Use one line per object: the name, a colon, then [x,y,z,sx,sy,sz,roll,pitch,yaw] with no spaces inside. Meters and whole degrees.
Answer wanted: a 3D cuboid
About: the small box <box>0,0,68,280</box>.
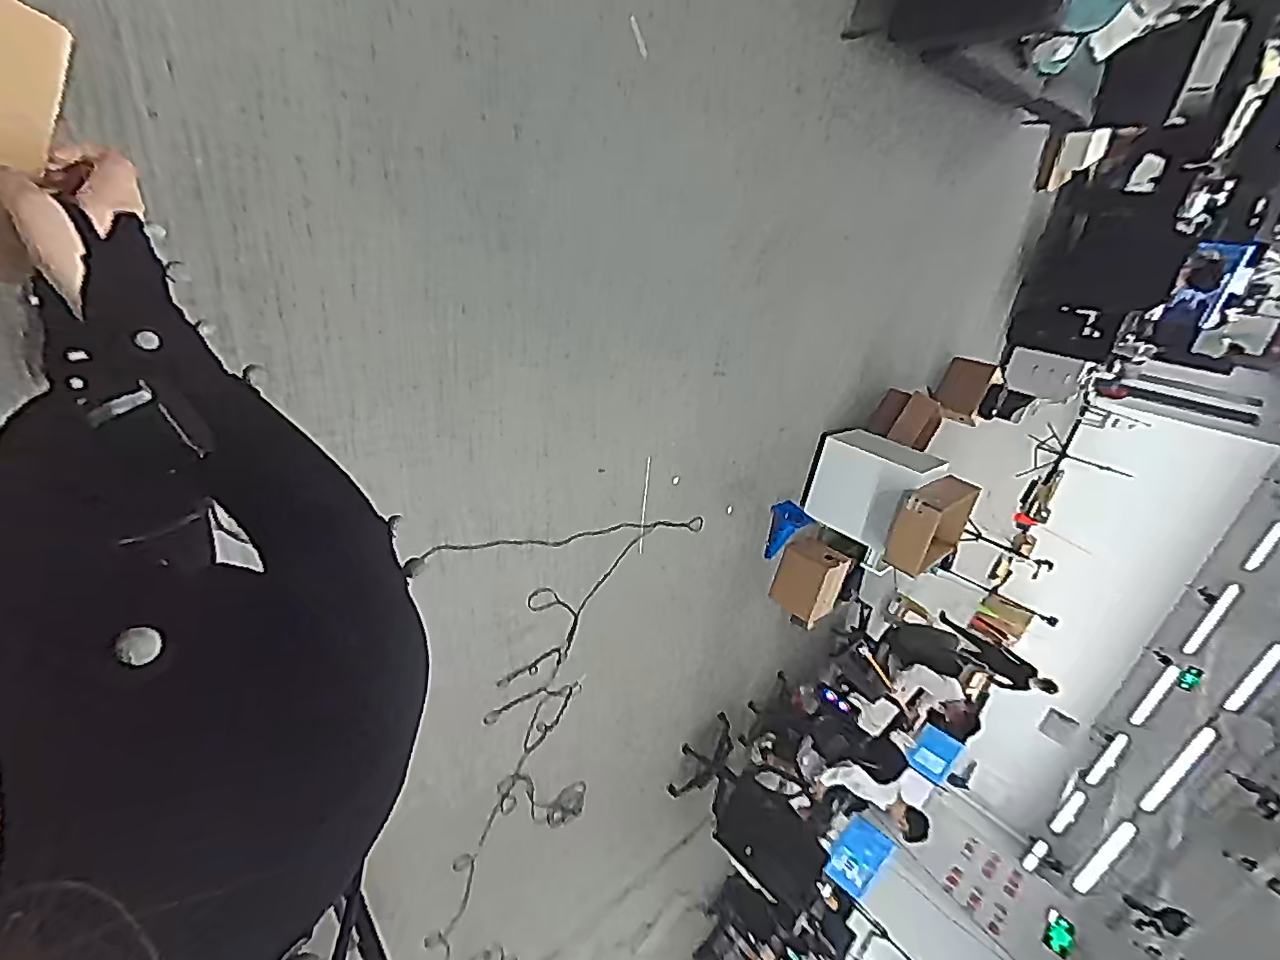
small box: [-0.493,-0.255,0.331,0.168,0.176,0.179,11,108,-54]
